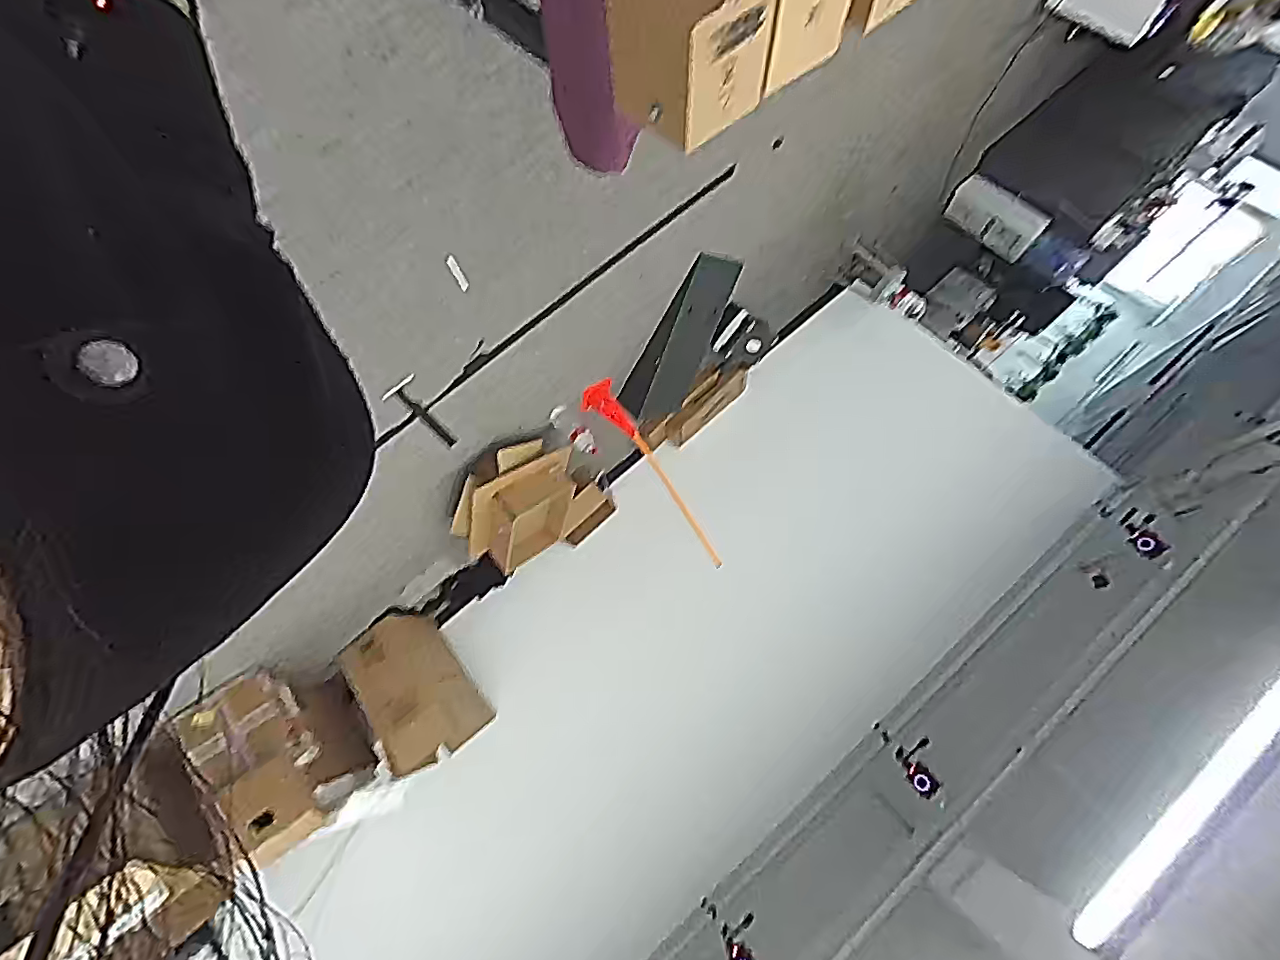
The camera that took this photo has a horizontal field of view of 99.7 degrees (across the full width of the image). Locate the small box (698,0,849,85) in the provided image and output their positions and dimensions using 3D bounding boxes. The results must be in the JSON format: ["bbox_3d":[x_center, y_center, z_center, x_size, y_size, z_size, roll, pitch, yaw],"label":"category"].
[{"bbox_3d":[0.208,-0.765,0.833,0.179,0.176,0.168,-40,161,-14],"label":"small box"}]

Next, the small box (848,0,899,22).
[{"bbox_3d":[0.381,-0.902,0.865,0.168,0.176,0.179,-39,163,-9],"label":"small box"}]
